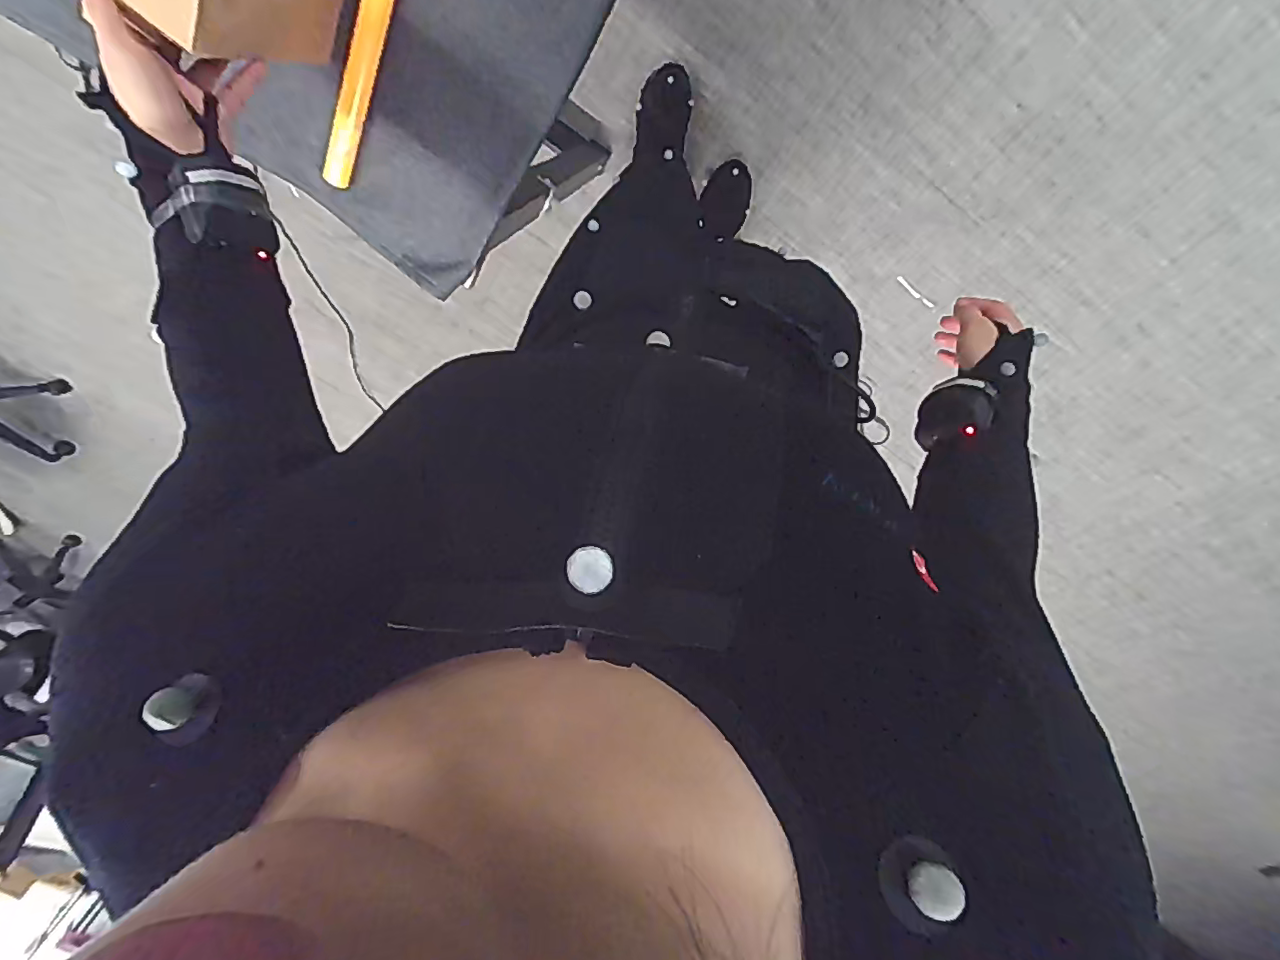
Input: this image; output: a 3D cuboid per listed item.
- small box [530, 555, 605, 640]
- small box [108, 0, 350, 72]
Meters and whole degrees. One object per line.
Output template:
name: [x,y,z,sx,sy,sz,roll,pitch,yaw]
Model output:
small box: [-0.224,0.368,1.714,0.168,0.176,0.179,28,127,-10]
small box: [-0.336,-0.456,0.417,0.168,0.176,0.179,33,124,-13]
